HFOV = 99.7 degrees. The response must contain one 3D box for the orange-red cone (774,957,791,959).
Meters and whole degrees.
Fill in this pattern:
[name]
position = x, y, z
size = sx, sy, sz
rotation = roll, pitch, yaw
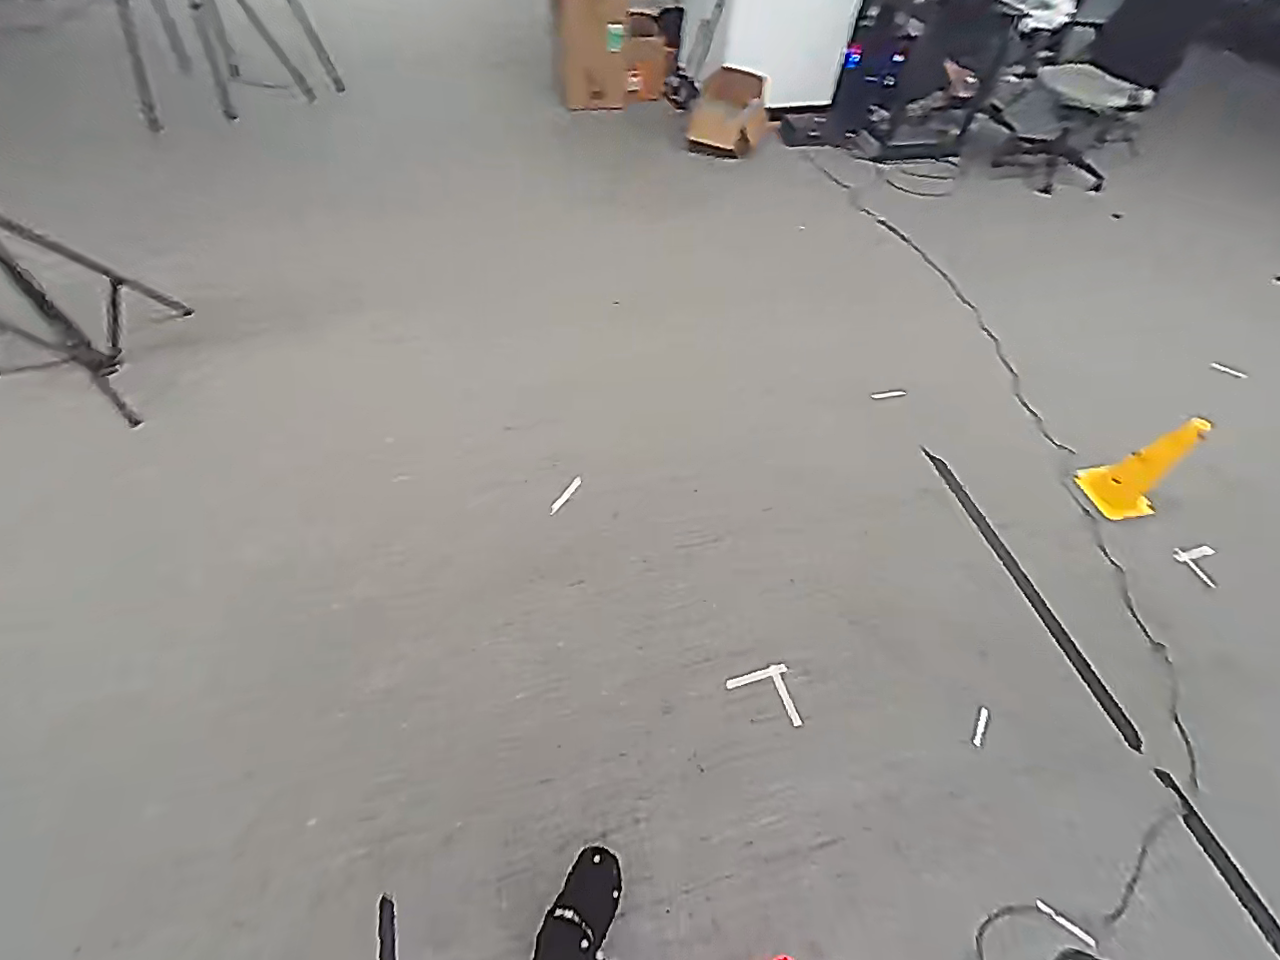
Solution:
[orange-red cone]
position = 0.255, 0.955, 0.882
size = 0.198, 0.360, 0.199
rotation = -14, 57, -13
